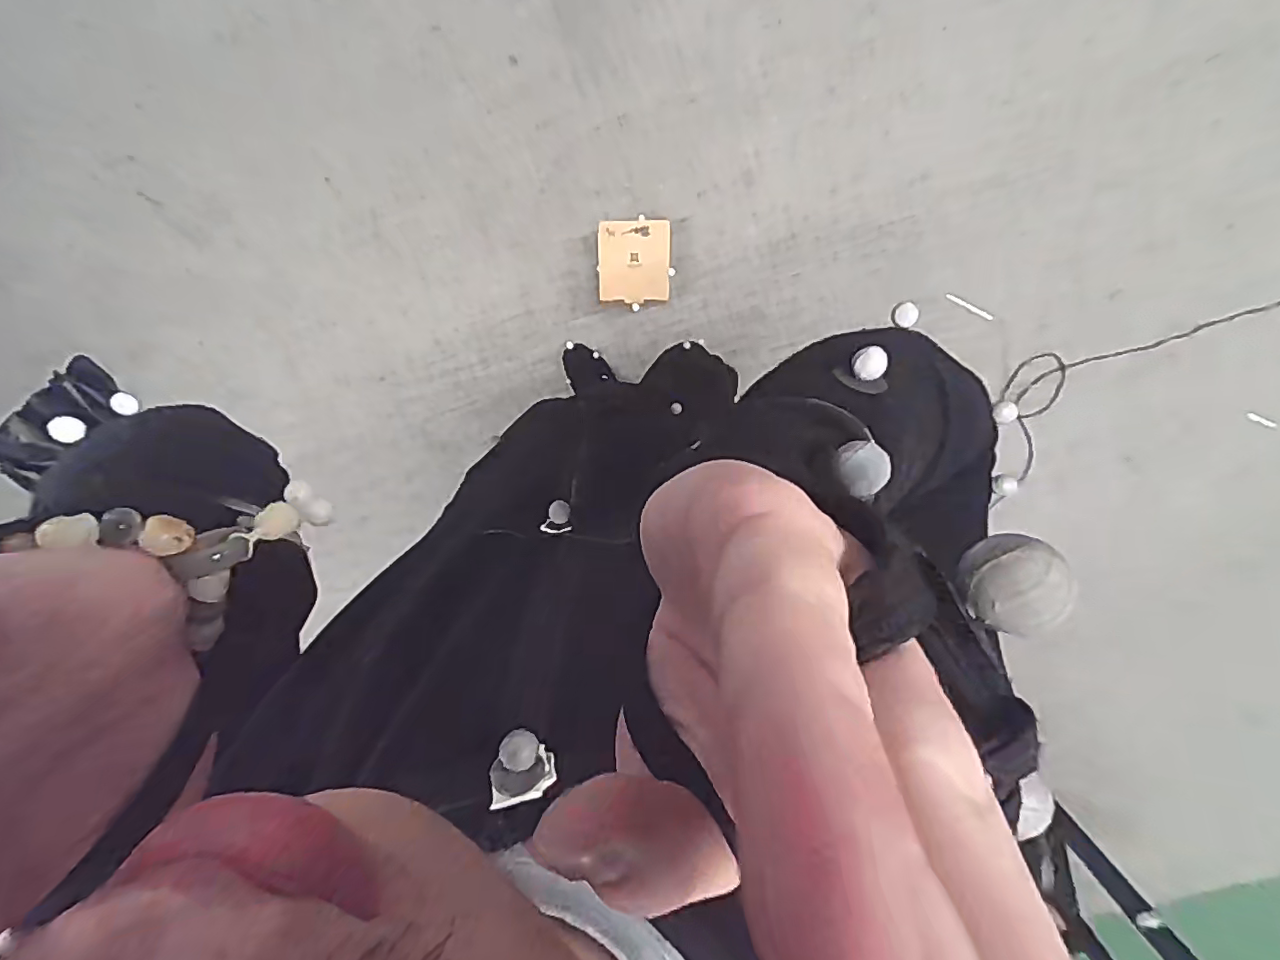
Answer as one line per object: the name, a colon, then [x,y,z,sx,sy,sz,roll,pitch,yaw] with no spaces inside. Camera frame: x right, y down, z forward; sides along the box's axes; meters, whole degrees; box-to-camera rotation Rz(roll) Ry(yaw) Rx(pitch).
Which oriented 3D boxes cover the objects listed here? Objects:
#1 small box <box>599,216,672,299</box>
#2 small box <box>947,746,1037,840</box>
small box: [-0.007,-0.532,1.313,0.168,0.176,0.179,0,106,2]
small box: [1.112,0.991,1.719,0.168,0.176,0.179,-19,103,6]
